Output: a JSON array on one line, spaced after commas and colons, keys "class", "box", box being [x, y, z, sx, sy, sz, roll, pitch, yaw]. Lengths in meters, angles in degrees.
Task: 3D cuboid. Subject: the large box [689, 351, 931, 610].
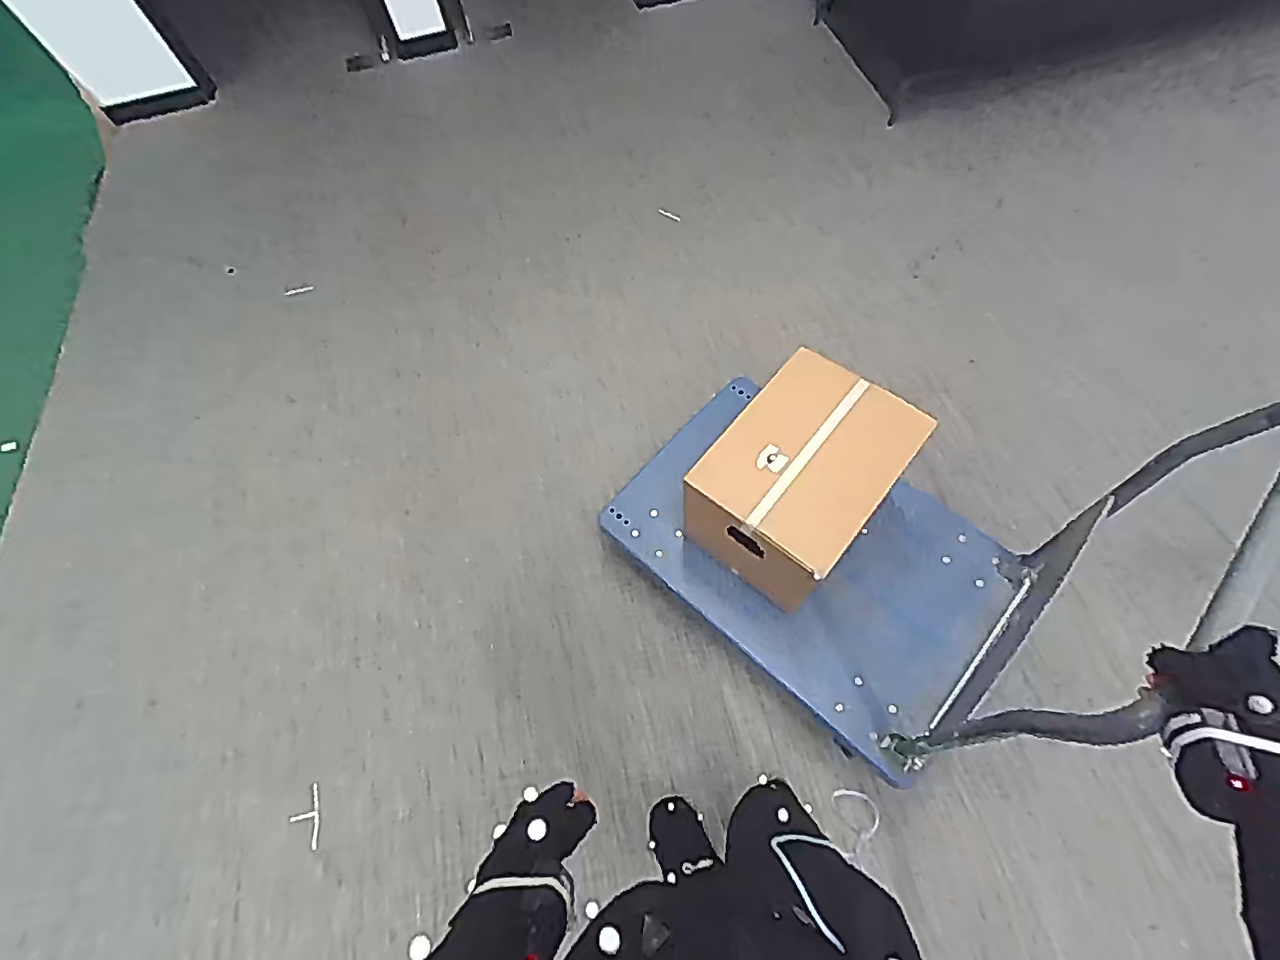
[{"class": "large box", "box": [0.346, 0.010, 1.185, 0.320, 0.320, 0.408, 36, 73, 20]}]
